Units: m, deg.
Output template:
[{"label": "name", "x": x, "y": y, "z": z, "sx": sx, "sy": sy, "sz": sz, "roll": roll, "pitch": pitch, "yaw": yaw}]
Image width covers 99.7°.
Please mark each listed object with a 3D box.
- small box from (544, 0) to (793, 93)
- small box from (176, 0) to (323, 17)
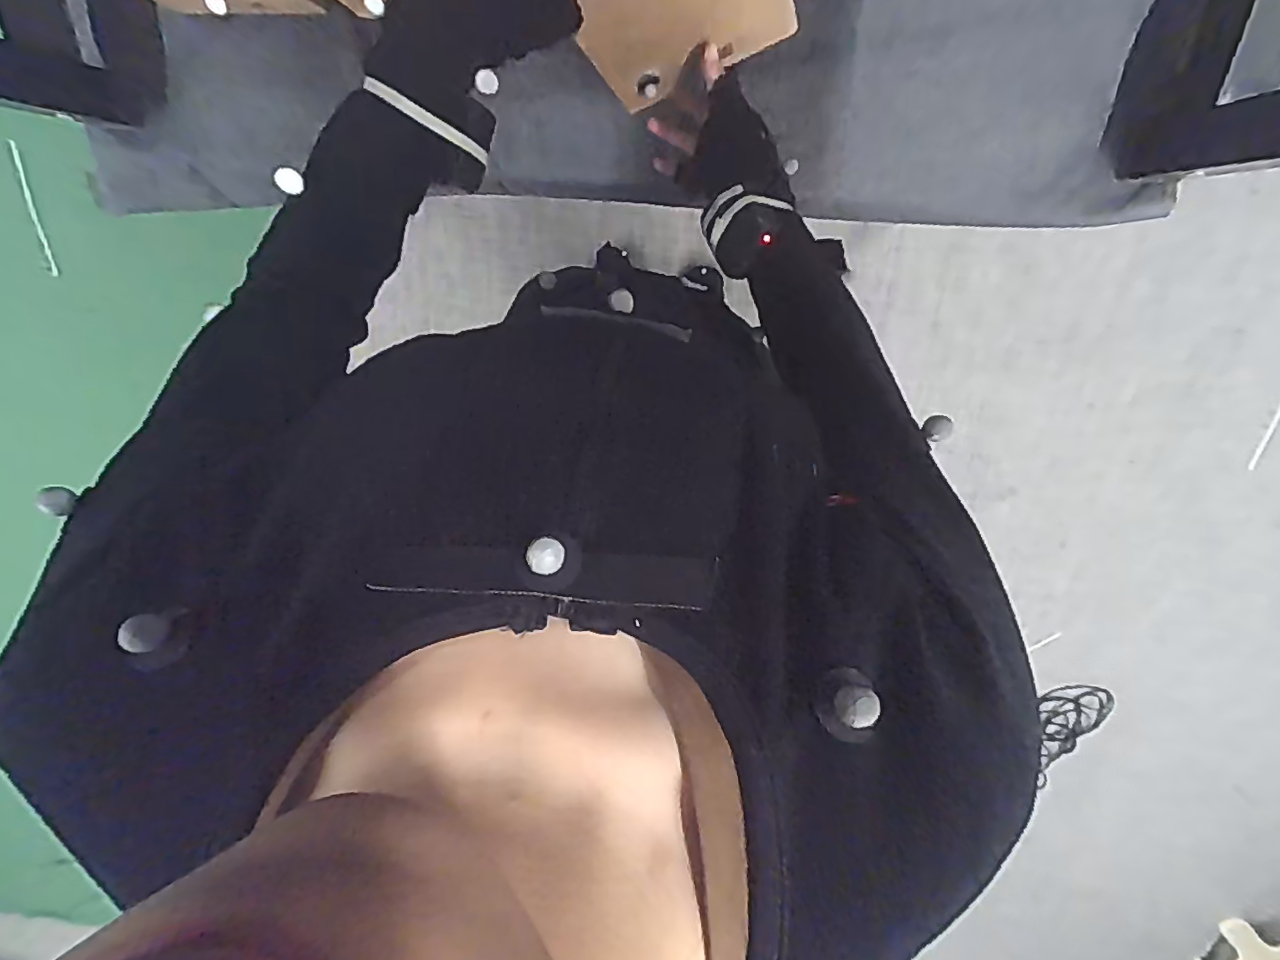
[{"label": "small box", "x": 0.015, "y": -0.451, "z": 0.423, "sx": 0.168, "sy": 0.176, "sz": 0.179, "roll": -11, "pitch": 90, "yaw": 23}, {"label": "small box", "x": -0.409, "y": -0.538, "z": 0.460, "sx": 0.168, "sy": 0.176, "sz": 0.179, "roll": 3, "pitch": 113, "yaw": 4}]
